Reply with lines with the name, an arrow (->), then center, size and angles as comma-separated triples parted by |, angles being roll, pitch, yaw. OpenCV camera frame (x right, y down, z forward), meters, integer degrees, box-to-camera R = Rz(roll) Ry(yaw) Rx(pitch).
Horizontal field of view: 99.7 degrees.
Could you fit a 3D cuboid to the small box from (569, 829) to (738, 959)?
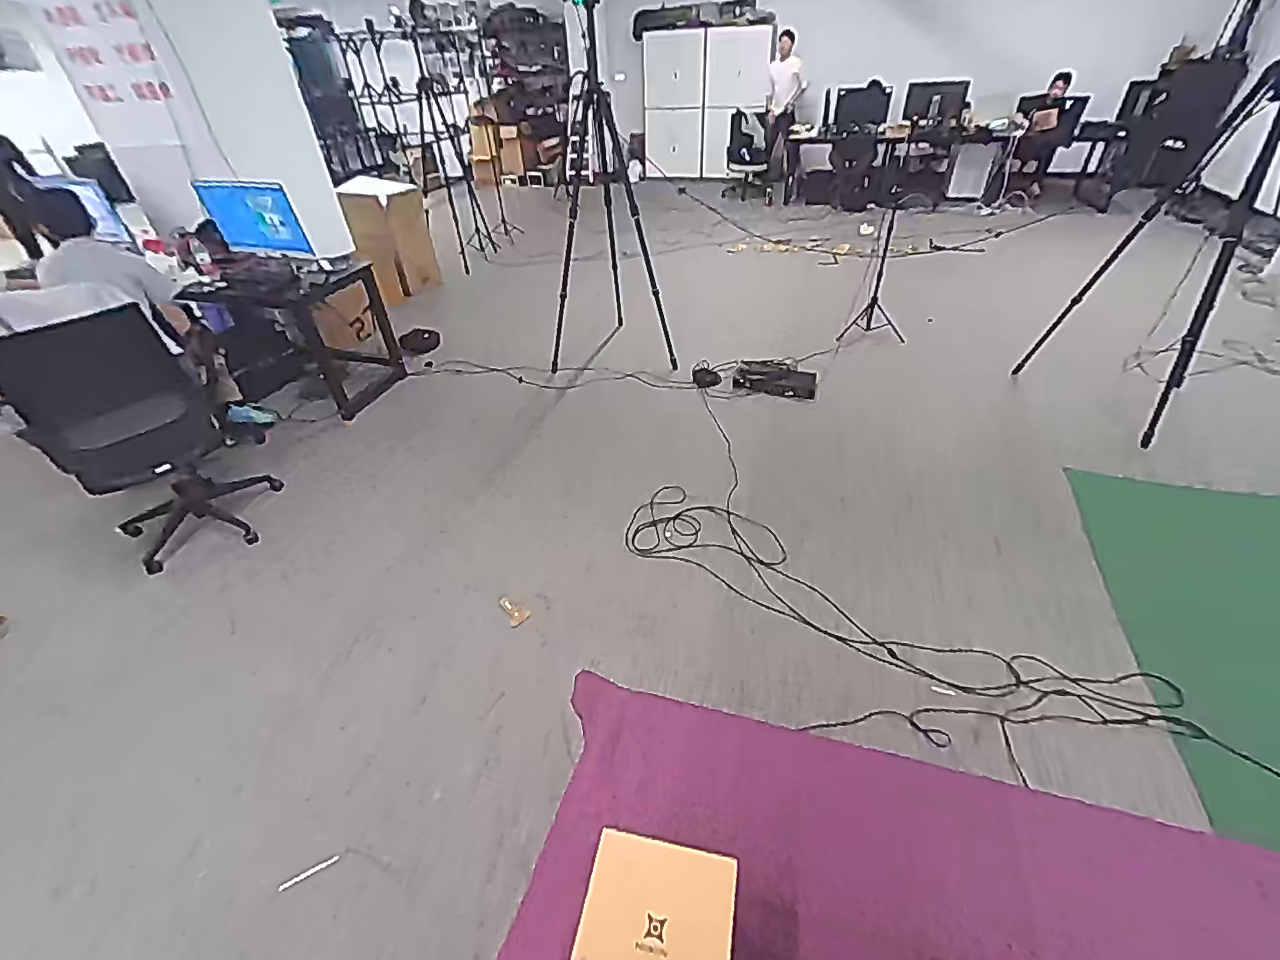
small box -> 0.016, 0.546, 0.622 | 0.168, 0.176, 0.179 | 6, 39, 11
